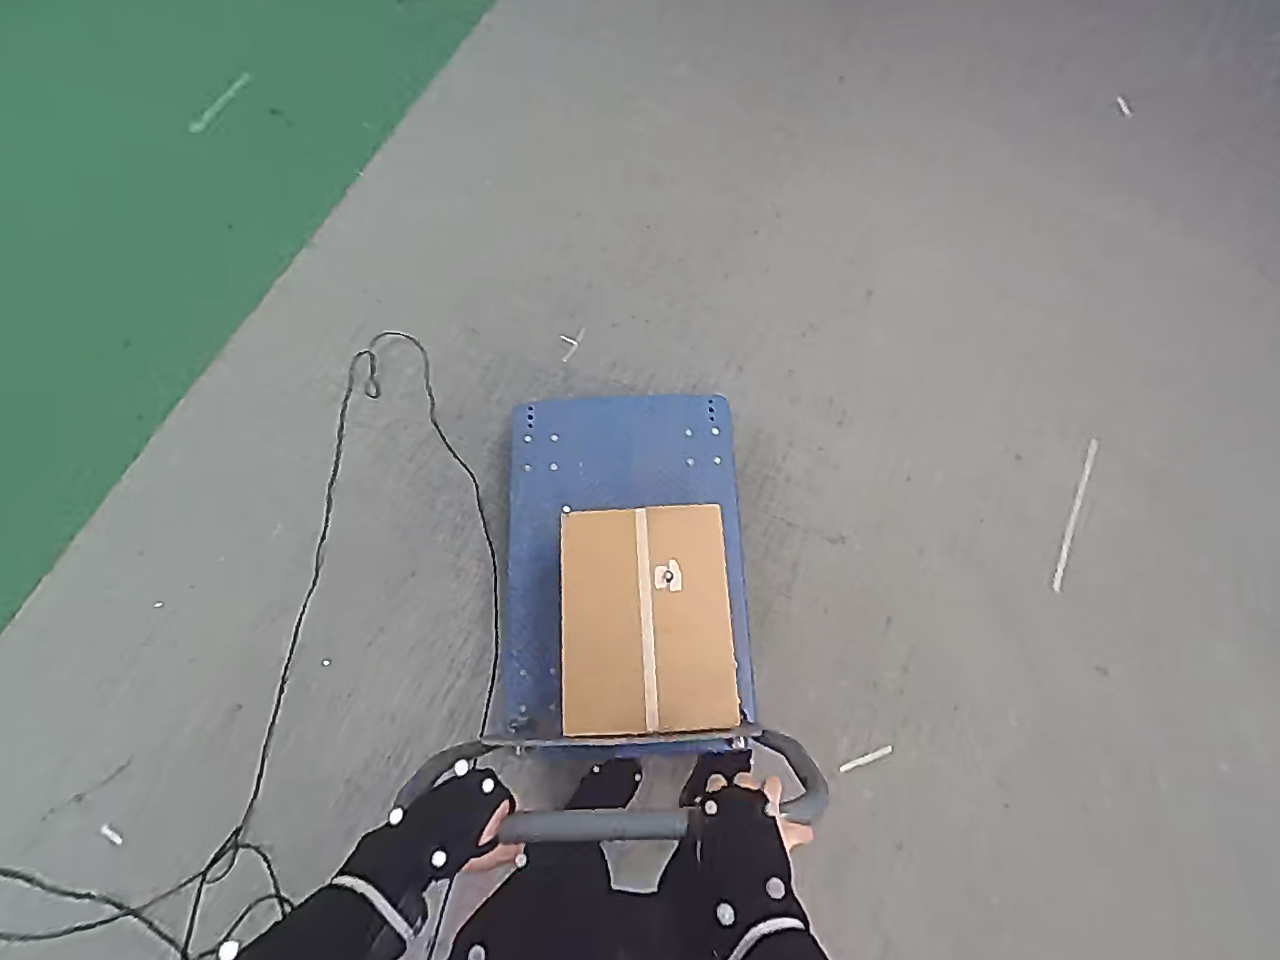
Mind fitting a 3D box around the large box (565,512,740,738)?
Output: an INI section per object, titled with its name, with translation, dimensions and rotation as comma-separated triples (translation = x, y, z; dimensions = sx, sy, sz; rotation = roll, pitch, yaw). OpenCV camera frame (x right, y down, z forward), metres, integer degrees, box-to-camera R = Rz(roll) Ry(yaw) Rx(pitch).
[large box]
translation = 0.020, 0.307, 1.160
dimensions = 0.320, 0.320, 0.408
rotation = -3, 72, 0
